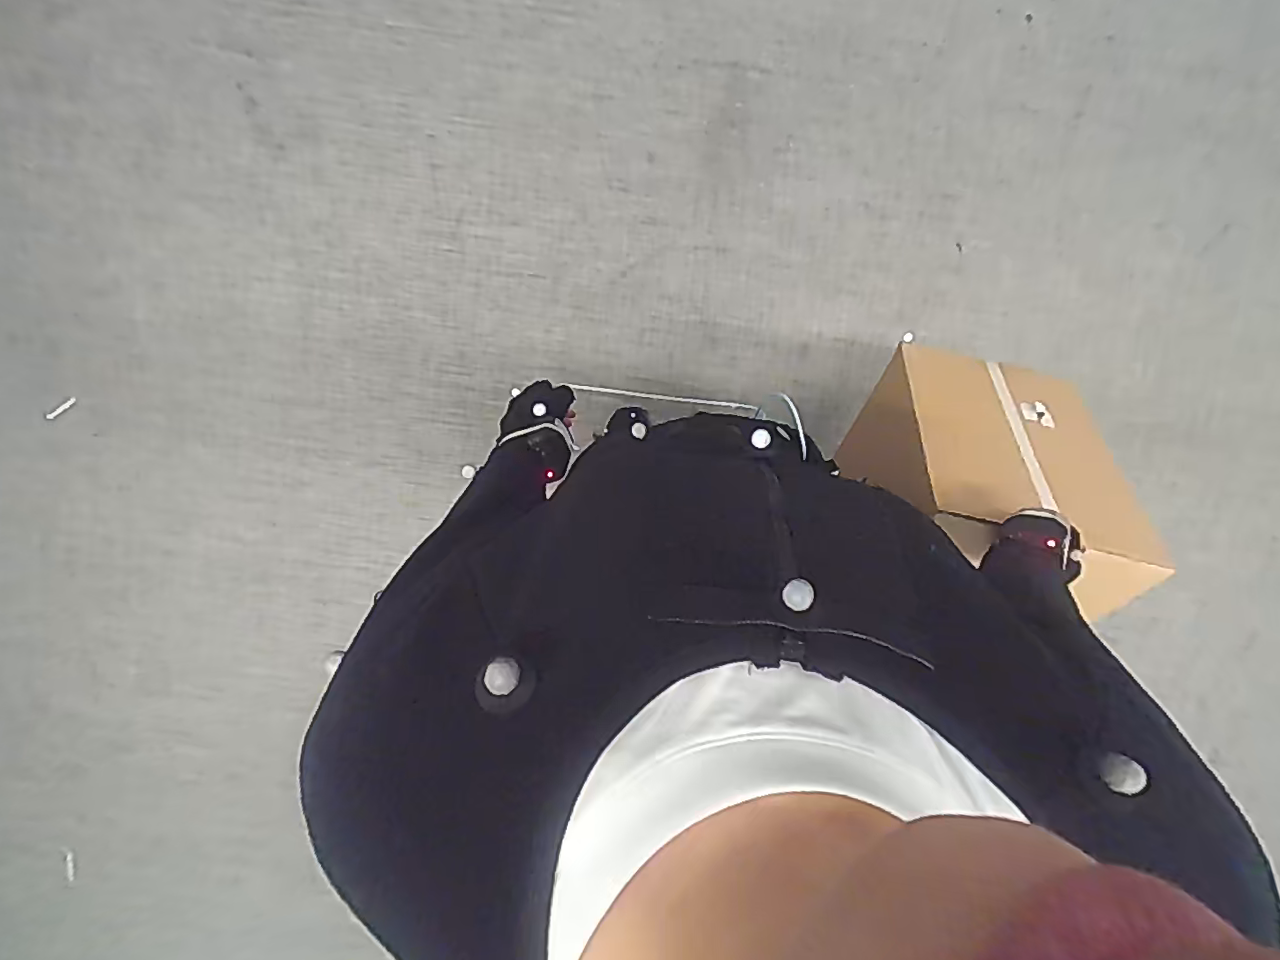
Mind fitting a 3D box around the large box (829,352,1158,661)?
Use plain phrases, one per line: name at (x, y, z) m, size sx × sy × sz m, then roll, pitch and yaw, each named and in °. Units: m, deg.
large box at (0.545, 0.041, 0.948) m, size 0.320 × 0.408 × 0.320 m, roll 15°, pitch 136°, yaw 2°
